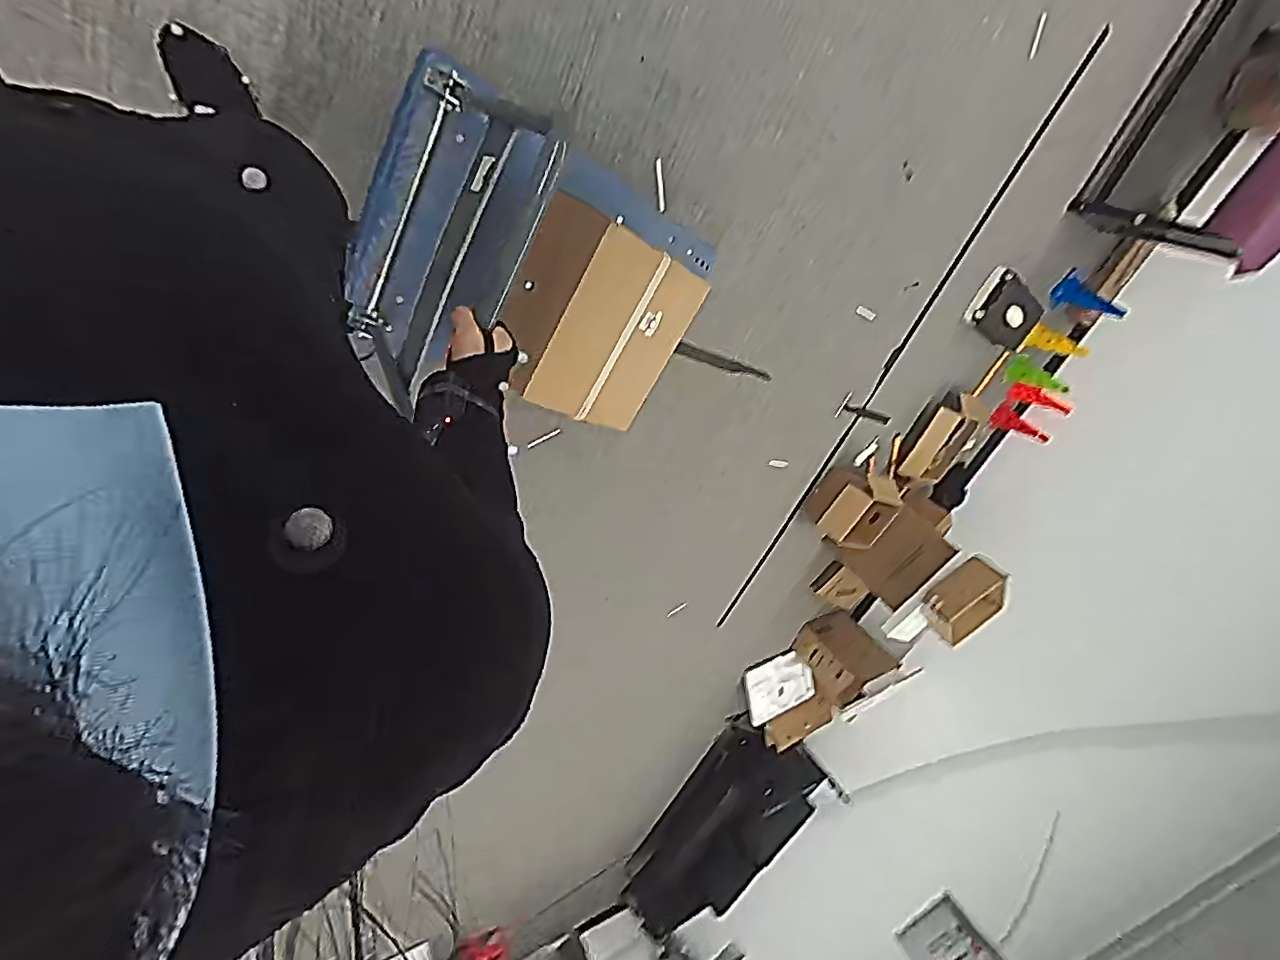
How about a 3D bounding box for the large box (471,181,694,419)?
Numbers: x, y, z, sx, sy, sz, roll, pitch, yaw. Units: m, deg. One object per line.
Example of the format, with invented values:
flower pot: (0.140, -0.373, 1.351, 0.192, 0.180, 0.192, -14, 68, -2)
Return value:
large box: (-0.151, -0.418, 1.295, 0.320, 0.320, 0.408, 13, 115, -45)
